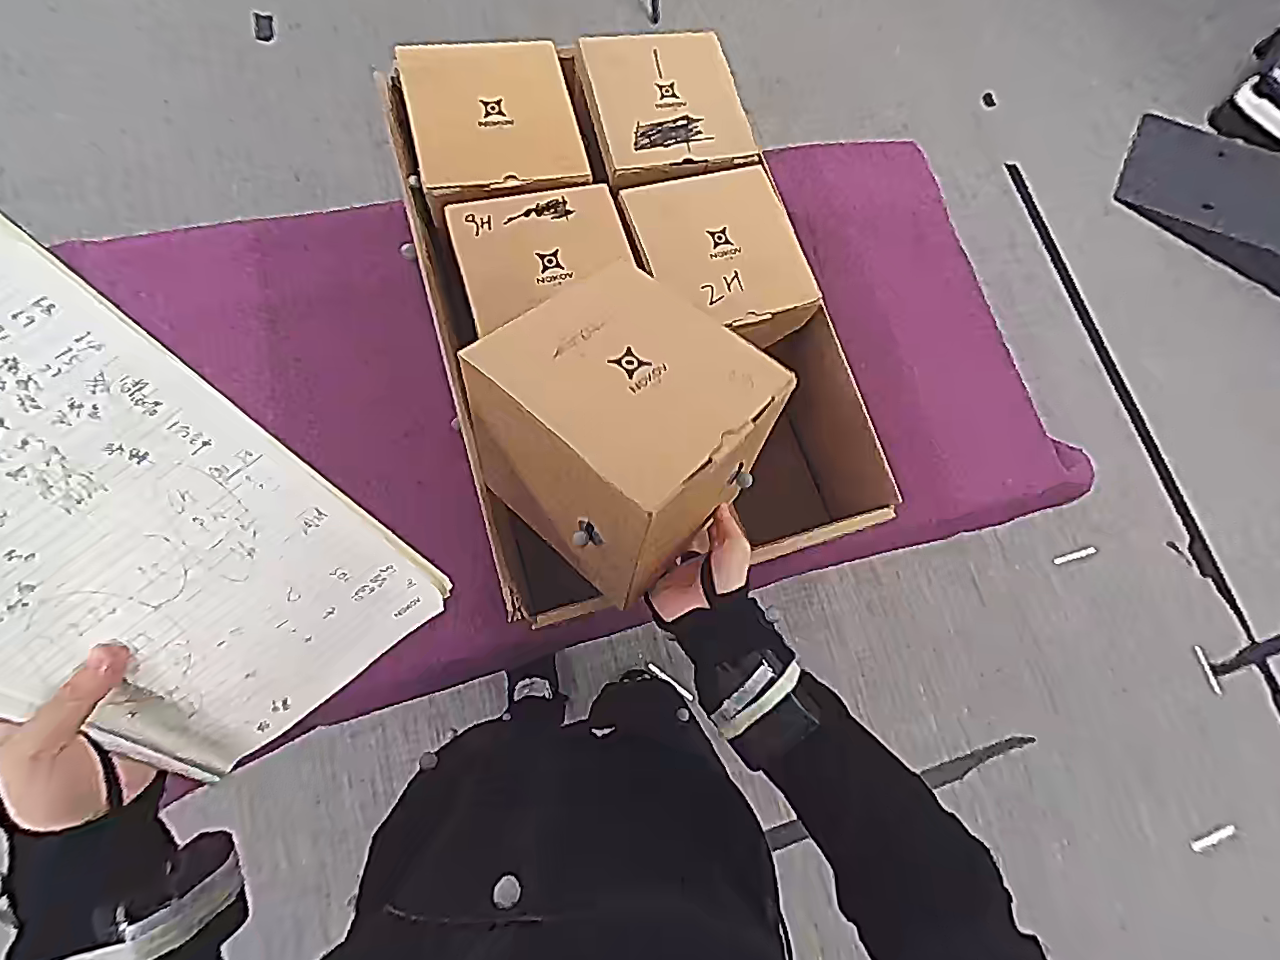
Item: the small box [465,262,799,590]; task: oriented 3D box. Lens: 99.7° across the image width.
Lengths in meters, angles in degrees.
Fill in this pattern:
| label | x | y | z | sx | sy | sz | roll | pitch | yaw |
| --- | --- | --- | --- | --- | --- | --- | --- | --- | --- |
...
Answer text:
| label | x | y | z | sx | sy | sz | roll | pitch | yaw |
| --- | --- | --- | --- | --- | --- | --- | --- | --- | --- |
| small box | -0.011 | -0.033 | 0.440 | 0.179 | 0.176 | 0.168 | 40 | 60 | 16 |
